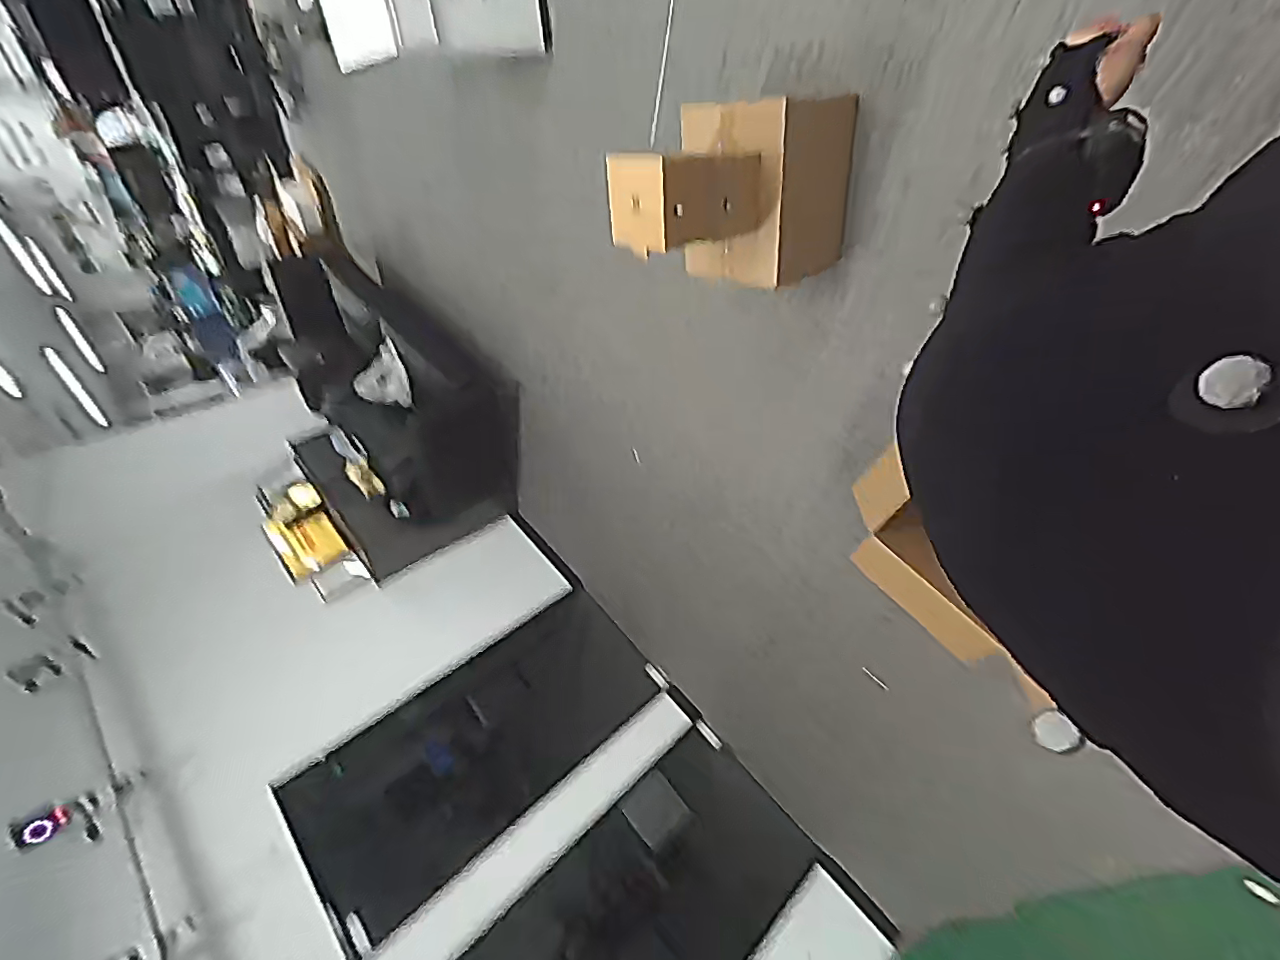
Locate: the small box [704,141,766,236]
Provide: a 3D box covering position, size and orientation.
[{"bbox_3d":[0.183,-0.698,1.288,0.168,0.176,0.179,28,136,38],"label":"small box"}]

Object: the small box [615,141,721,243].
[{"bbox_3d":[0.065,-0.640,1.192,0.168,0.176,0.179,28,137,37],"label":"small box"}]
